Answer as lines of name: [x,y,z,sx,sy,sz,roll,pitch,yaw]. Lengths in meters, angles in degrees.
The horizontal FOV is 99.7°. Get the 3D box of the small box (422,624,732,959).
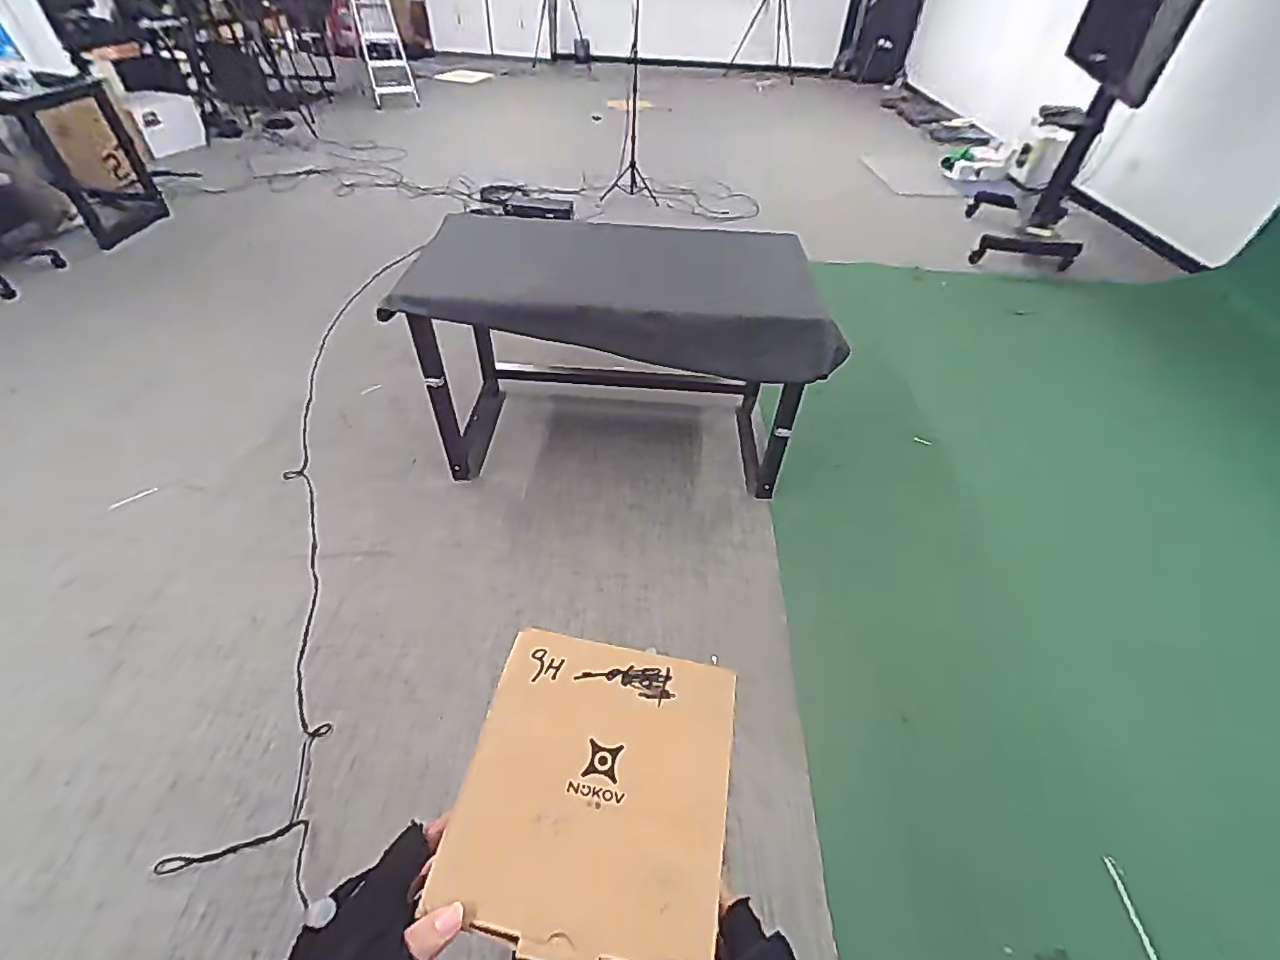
small box: [-0.029,0.237,0.409,0.168,0.176,0.179,9,51,6]
